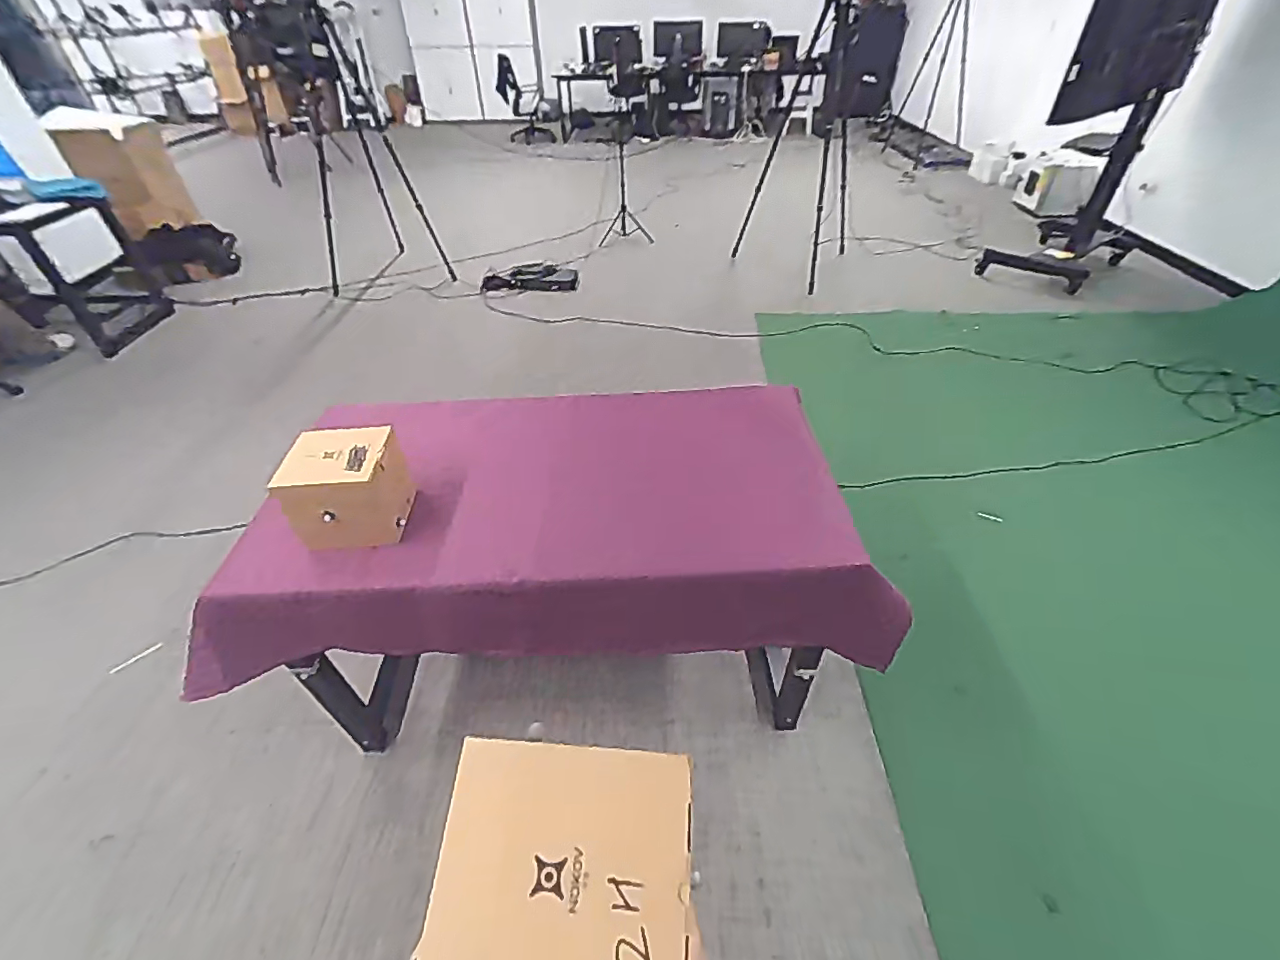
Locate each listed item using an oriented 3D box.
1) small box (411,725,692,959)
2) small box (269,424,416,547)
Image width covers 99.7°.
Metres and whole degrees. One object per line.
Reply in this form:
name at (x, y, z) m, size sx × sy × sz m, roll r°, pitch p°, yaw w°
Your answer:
small box at (-0.052, 0.303, 0.435) m, size 0.179 × 0.176 × 0.168 m, roll 4°, pitch 60°, yaw 4°
small box at (-0.555, 0.012, 1.043) m, size 0.179 × 0.176 × 0.168 m, roll -5°, pitch 42°, yaw -2°
